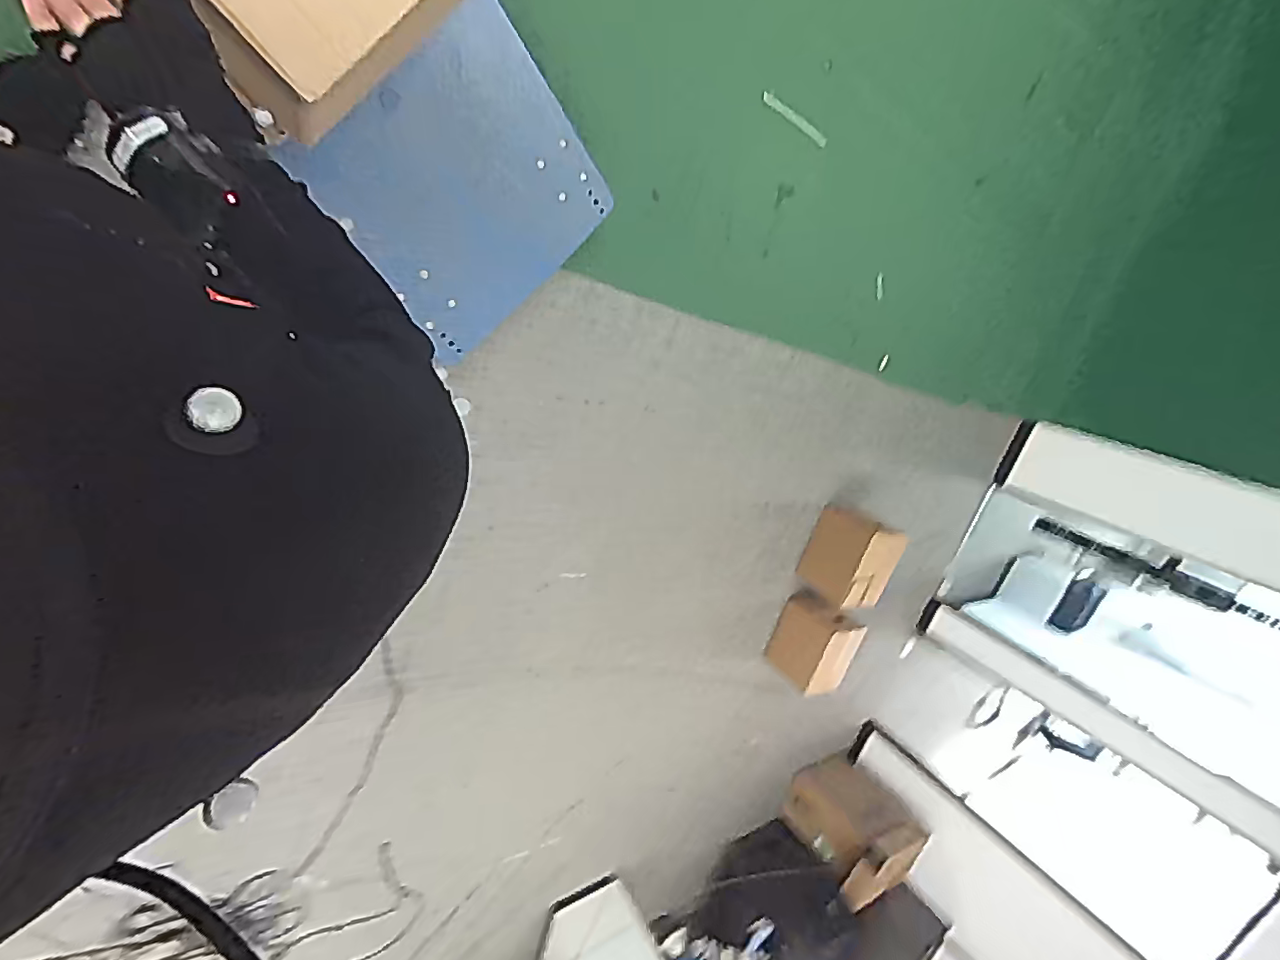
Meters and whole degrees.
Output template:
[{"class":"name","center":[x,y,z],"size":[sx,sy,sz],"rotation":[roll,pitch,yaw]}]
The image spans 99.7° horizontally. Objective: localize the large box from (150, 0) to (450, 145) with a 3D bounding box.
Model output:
[{"class":"large box","center":[-0.325,-0.615,0.511],"size":[0.408,0.320,0.320],"rotation":[-49,128,-5]}]
